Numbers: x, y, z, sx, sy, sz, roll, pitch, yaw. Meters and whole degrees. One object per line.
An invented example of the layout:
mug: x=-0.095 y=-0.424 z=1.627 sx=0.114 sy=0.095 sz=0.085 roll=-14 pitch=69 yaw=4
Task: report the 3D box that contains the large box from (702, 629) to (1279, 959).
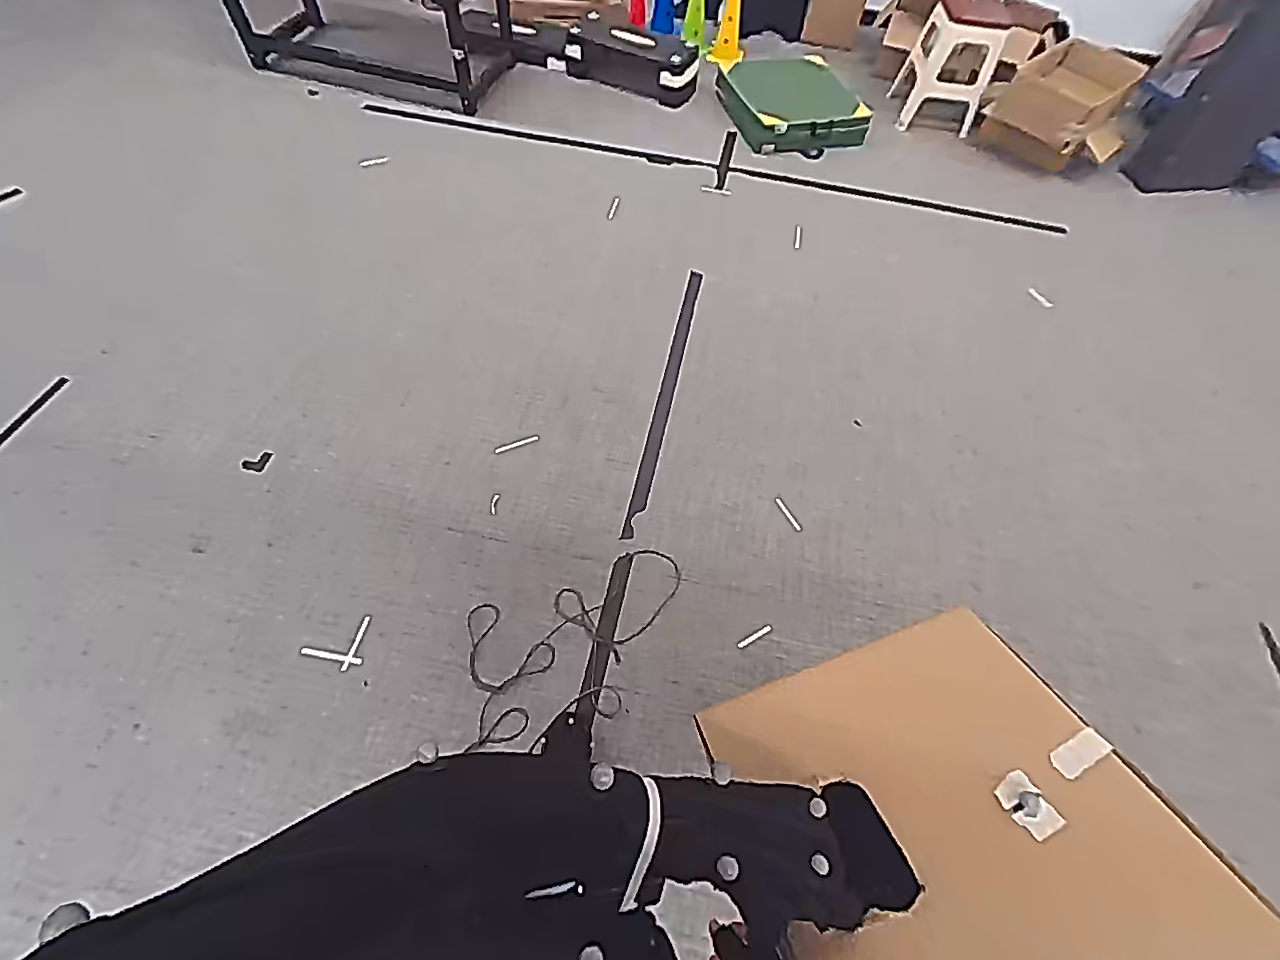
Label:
large box: x=0.290 y=0.436 z=0.565 sx=0.320 sy=0.408 sz=0.320 roll=-20 pitch=38 yaw=-4
